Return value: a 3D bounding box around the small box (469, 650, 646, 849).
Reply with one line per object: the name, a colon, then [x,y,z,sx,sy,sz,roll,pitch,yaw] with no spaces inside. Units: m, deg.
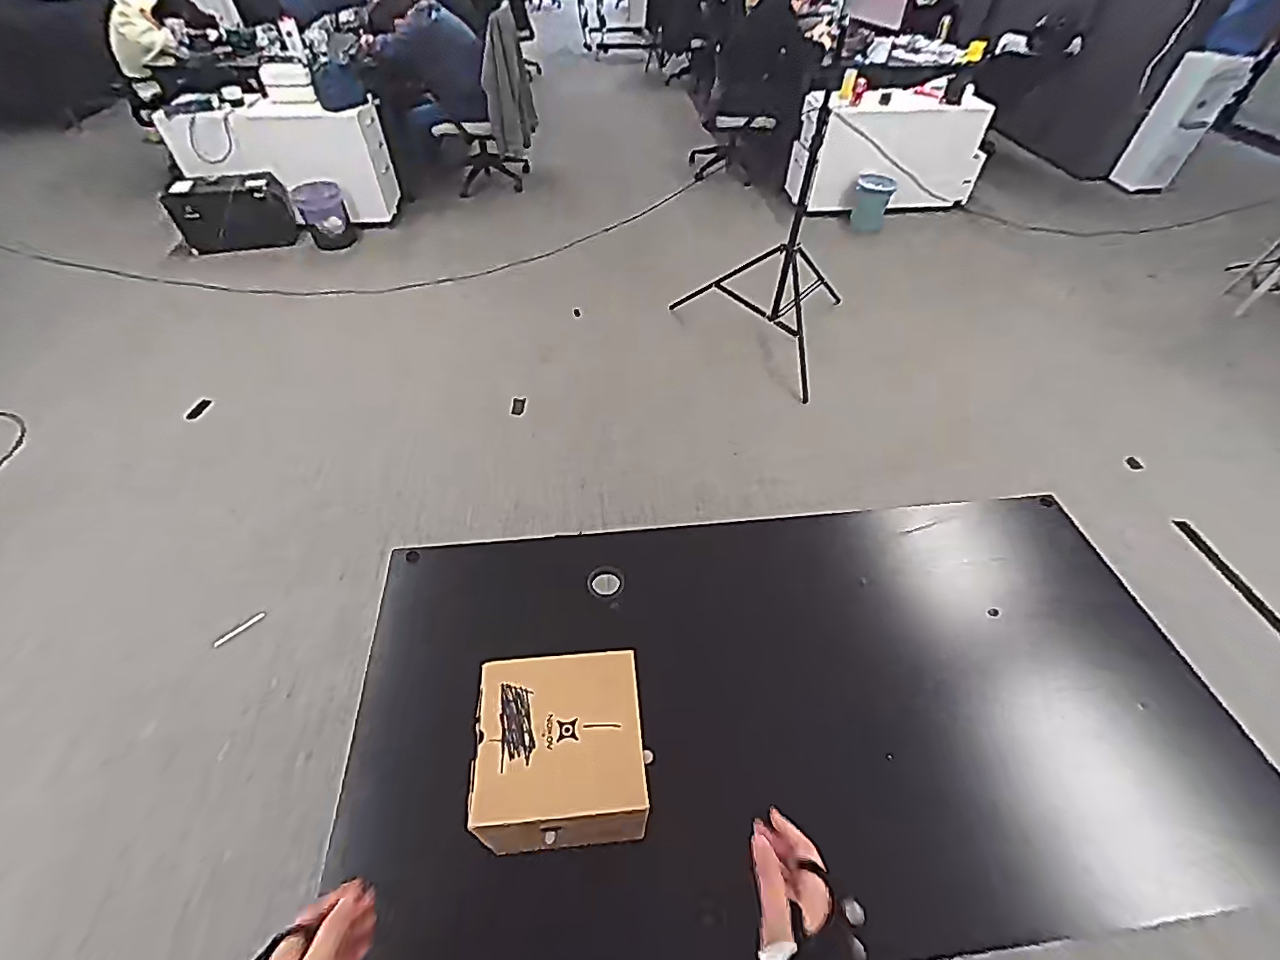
small box: [-0.088,0.320,0.639,0.179,0.176,0.168,-3,48,-5]
